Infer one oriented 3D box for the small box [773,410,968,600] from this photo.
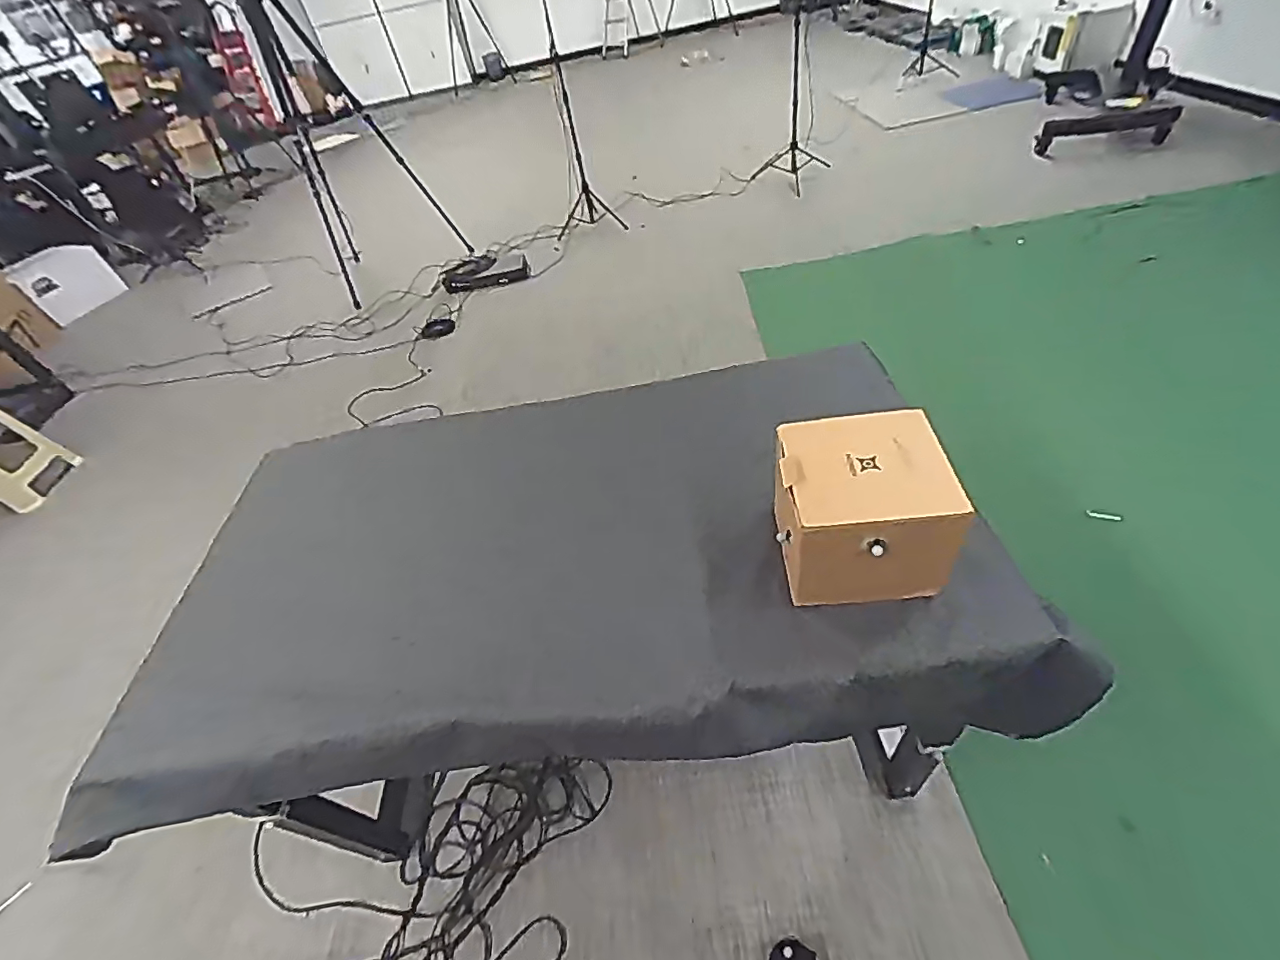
[{"bbox_3d":[0.265,0.037,0.670,0.179,0.176,0.168,-5,47,7],"label":"small box"}]
